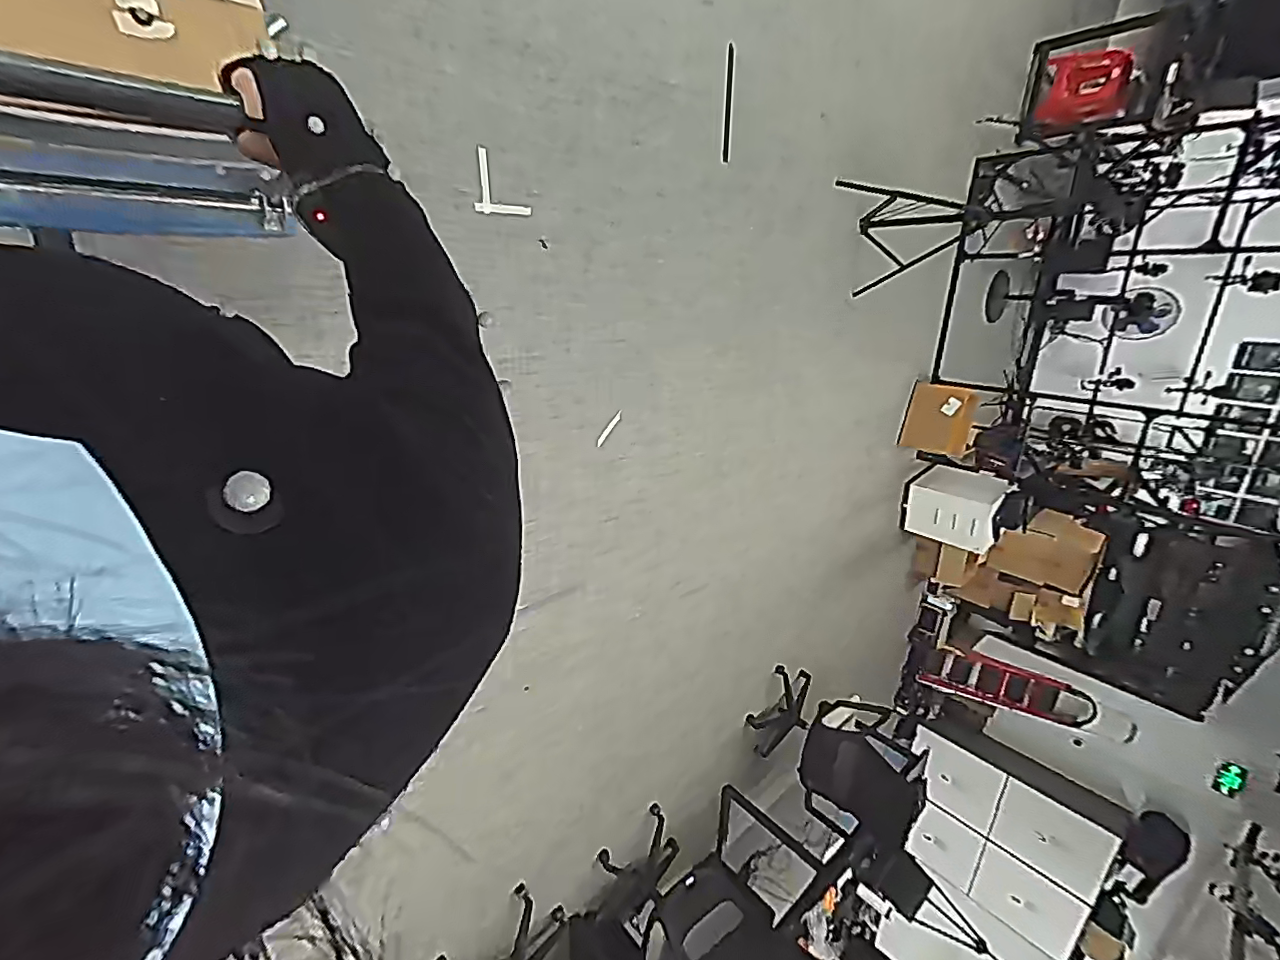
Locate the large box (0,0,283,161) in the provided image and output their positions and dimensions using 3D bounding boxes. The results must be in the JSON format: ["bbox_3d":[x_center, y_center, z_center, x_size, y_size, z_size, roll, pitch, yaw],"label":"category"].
[{"bbox_3d":[-0.782,-0.637,0.724,0.408,0.320,0.320,-22,120,-39],"label":"large box"}]
